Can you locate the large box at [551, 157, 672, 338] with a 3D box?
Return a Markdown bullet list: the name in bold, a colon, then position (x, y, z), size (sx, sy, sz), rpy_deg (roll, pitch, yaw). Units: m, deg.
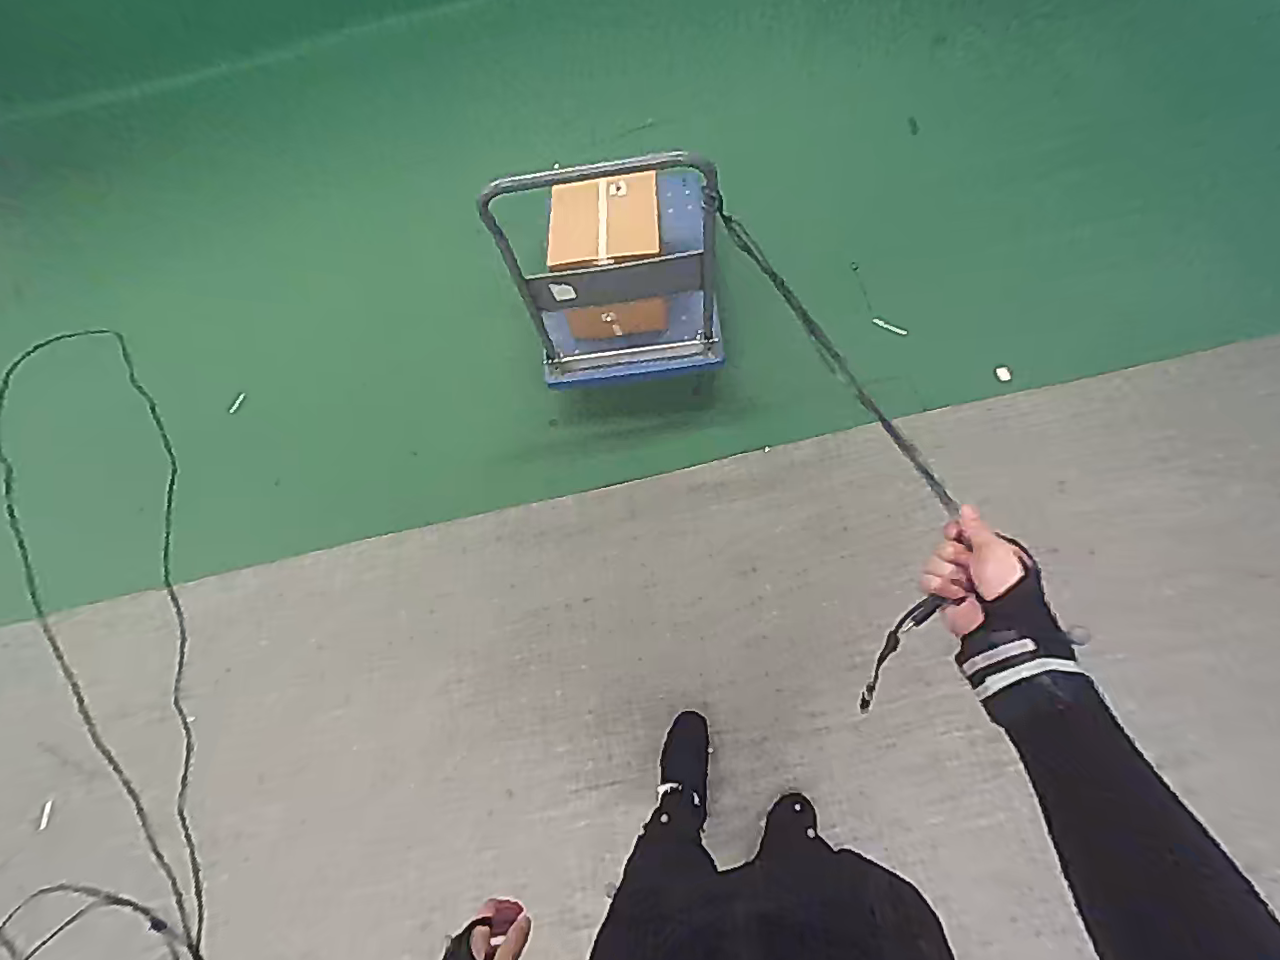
- **large box**: position (-0.076, -0.706, 1.670), size (0.320, 0.320, 0.408), rpy_deg (-4, 64, 6)
